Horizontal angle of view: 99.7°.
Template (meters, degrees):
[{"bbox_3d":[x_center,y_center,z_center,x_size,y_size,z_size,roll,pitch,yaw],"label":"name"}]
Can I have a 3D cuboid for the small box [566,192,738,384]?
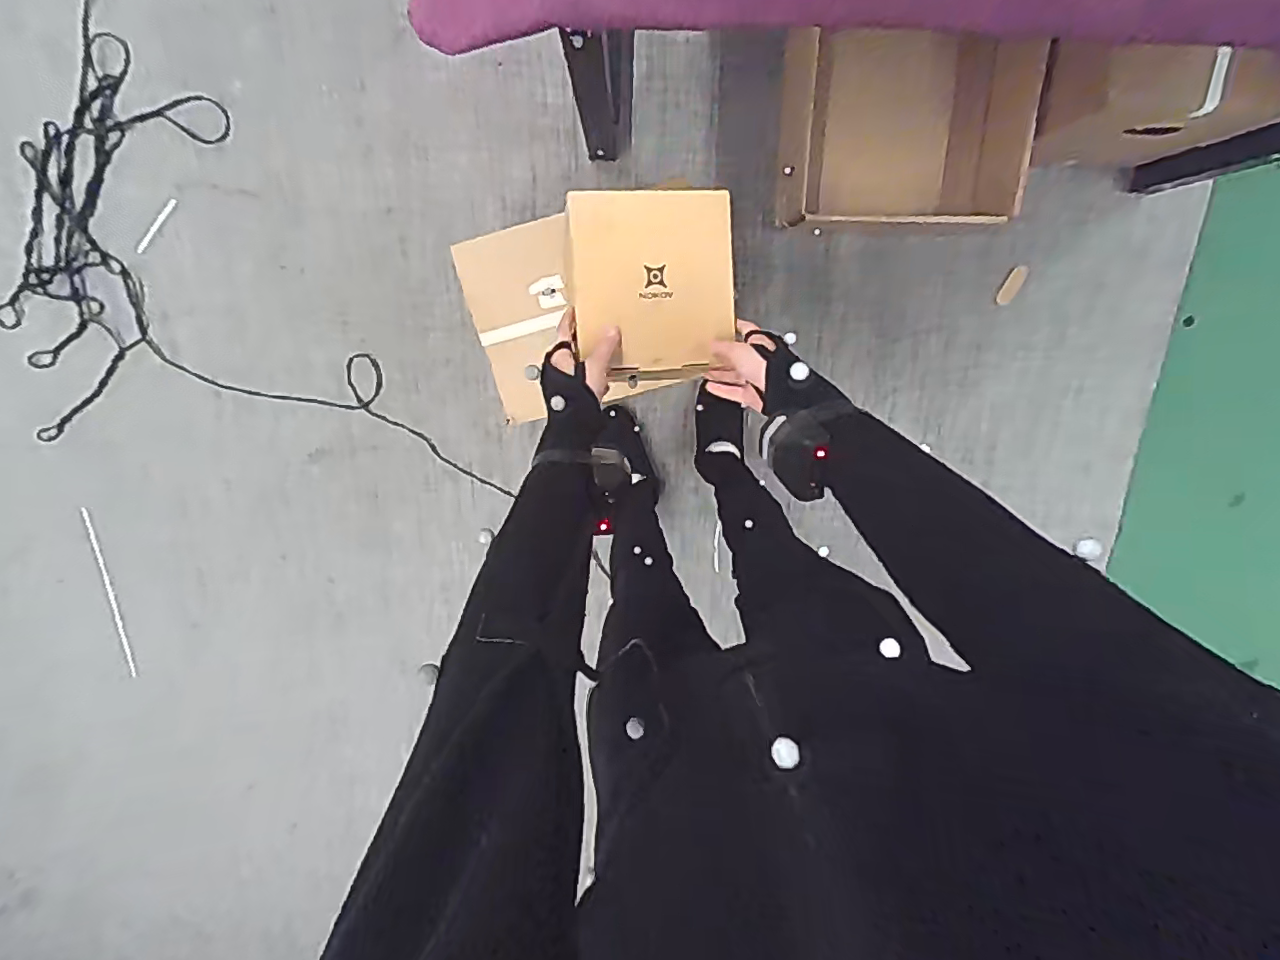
[{"bbox_3d":[0.005,-0.208,0.625,0.168,0.176,0.179,-5,98,-9],"label":"small box"}]
